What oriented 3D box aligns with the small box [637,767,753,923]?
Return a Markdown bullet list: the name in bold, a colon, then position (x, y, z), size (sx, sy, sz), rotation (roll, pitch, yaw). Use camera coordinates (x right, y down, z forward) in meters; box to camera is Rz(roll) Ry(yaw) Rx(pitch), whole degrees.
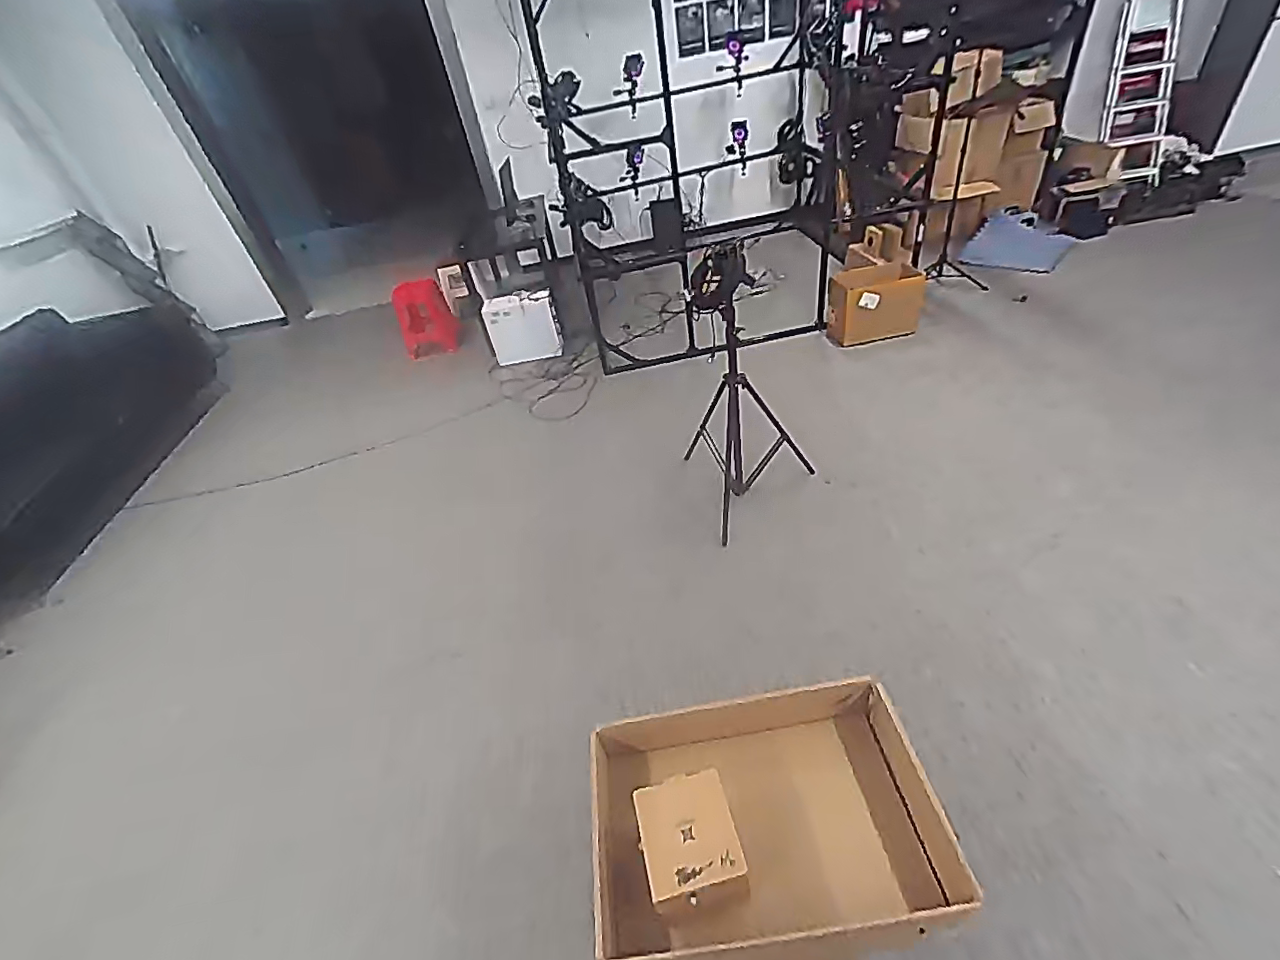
- **small box**: position (0.100, 0.671, 0.996), size (0.168, 0.176, 0.179), rotation (-15, 39, -3)
